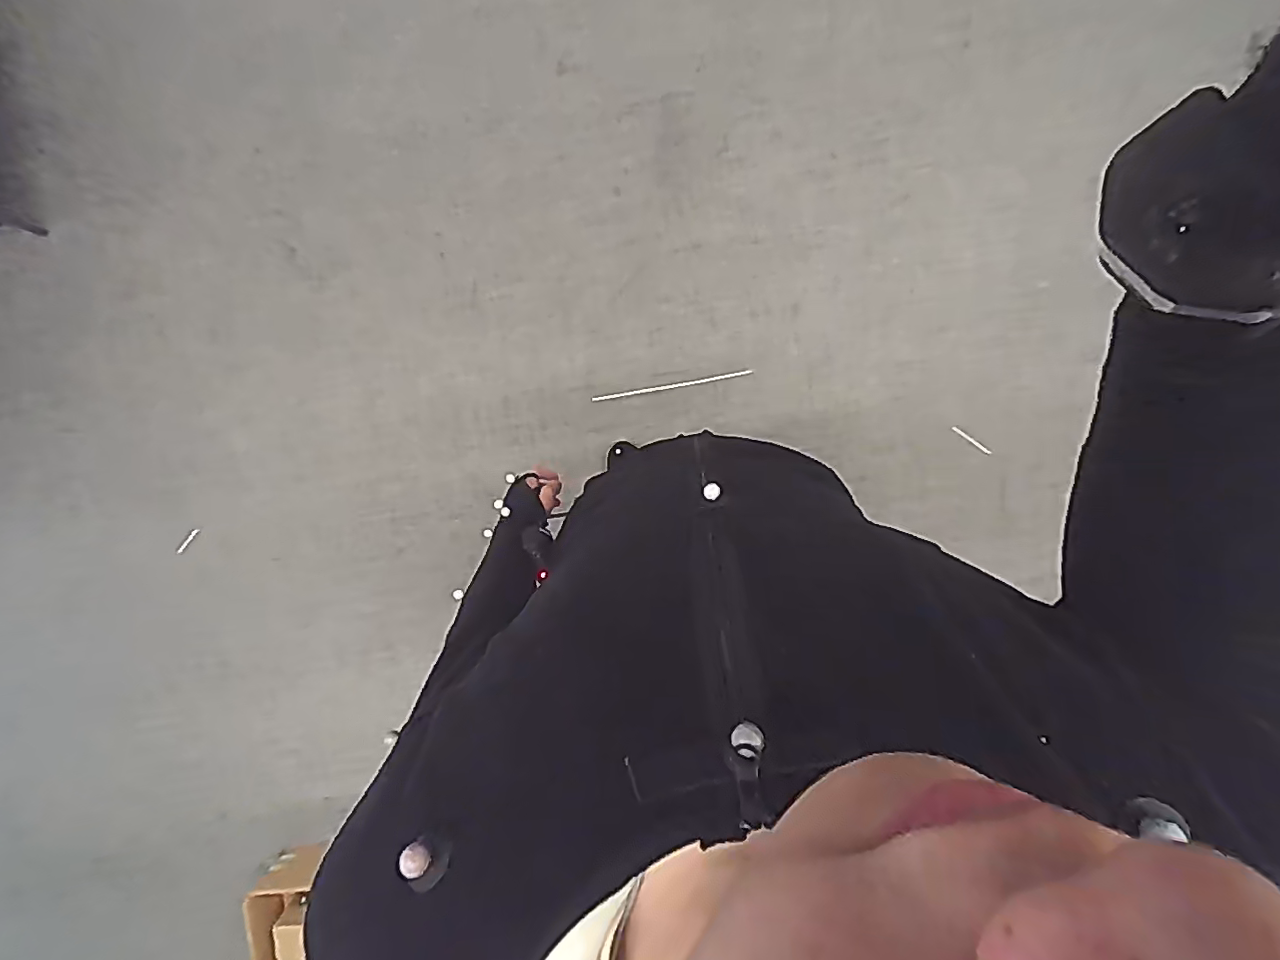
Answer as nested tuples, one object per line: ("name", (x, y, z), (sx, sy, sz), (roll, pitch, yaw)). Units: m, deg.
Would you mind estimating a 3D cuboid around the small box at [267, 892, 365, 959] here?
("small box", (-0.932, 1.342, 1.568), (0.179, 0.176, 0.168), (-6, 94, 1))
